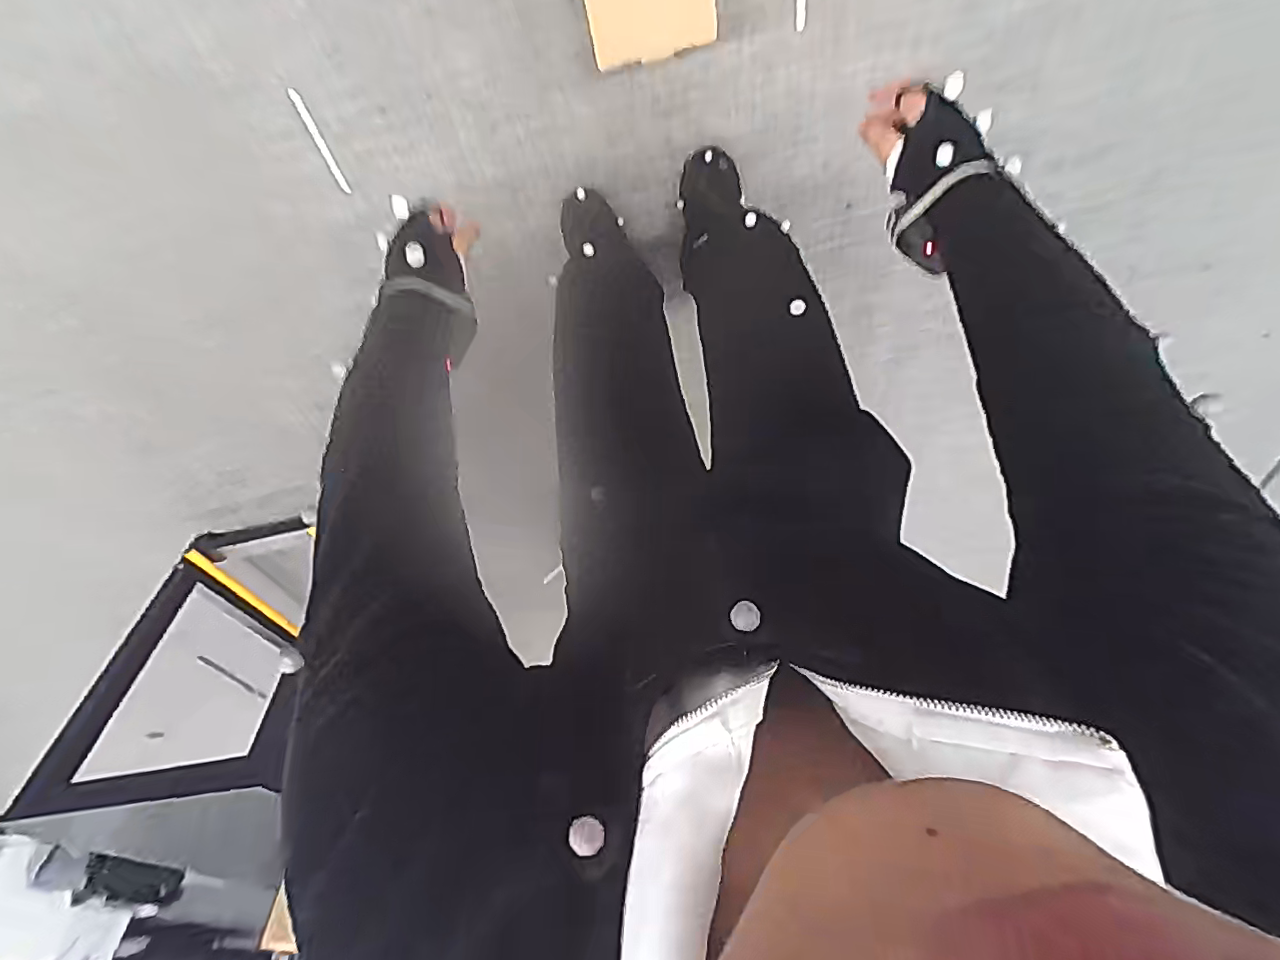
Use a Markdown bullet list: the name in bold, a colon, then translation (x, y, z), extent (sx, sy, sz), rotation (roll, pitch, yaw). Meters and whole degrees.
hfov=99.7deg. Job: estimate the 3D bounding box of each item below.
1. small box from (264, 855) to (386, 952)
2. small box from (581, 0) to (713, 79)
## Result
- **small box**: translation (-0.761, 1.043, 1.333), extent (0.168, 0.176, 0.179), rotation (-12, 133, 7)
- **small box**: translation (0.001, -0.680, 0.730), extent (0.168, 0.176, 0.179), rotation (-10, 135, 5)
